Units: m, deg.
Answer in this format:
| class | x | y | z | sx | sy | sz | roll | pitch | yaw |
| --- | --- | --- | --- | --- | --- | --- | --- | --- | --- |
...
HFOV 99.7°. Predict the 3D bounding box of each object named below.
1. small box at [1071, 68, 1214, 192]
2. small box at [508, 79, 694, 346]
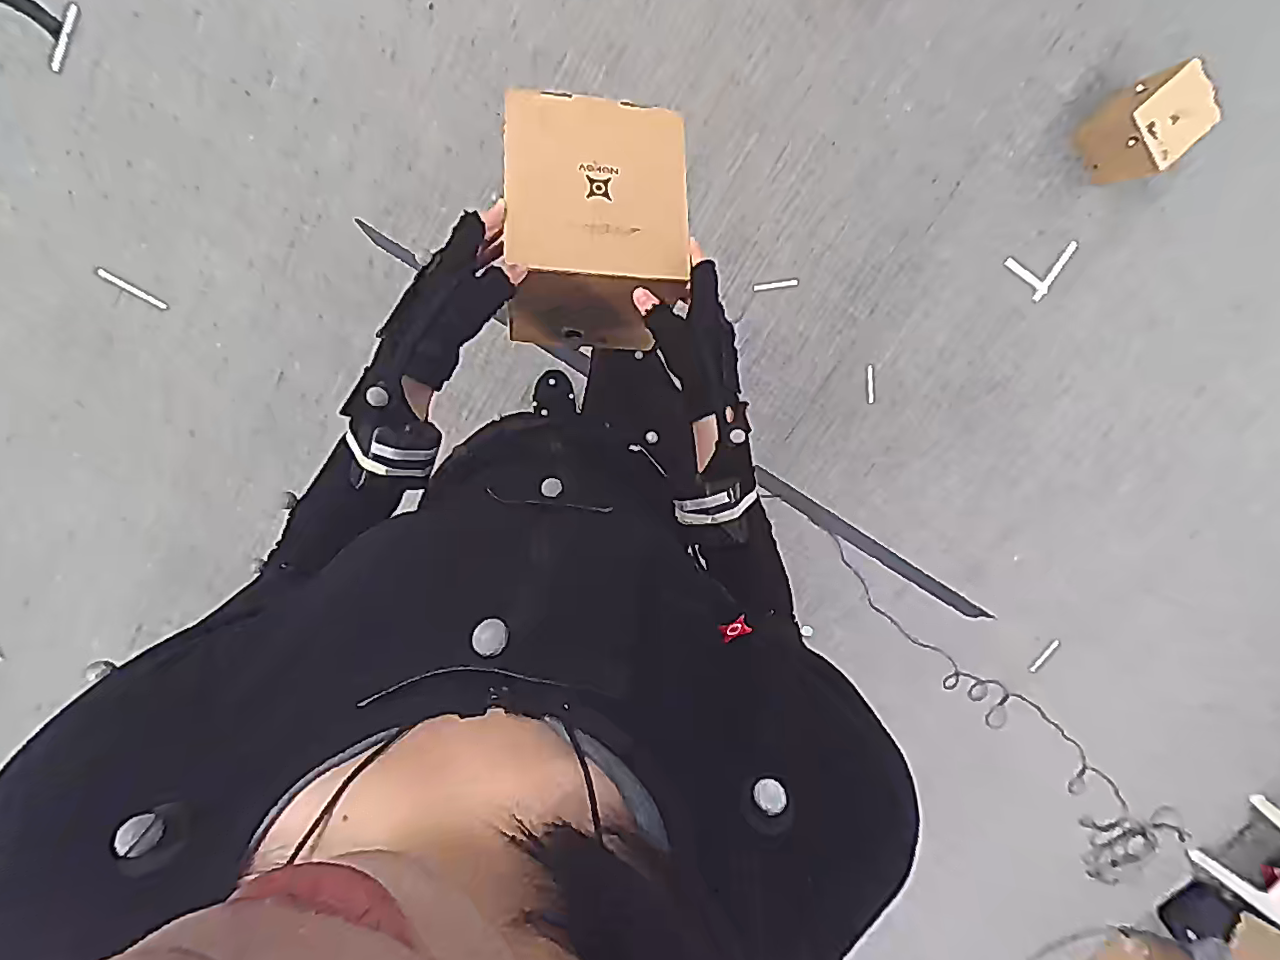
| class | x | y | z | sx | sy | sz | roll | pitch | yaw |
| --- | --- | --- | --- | --- | --- | --- | --- | --- | --- |
| small box | 1.241 | -0.859 | 1.346 | 0.179 | 0.176 | 0.168 | -43 | 106 | 6 |
| small box | -0.050 | -0.257 | 0.558 | 0.168 | 0.176 | 0.179 | -1 | 81 | -11 |
